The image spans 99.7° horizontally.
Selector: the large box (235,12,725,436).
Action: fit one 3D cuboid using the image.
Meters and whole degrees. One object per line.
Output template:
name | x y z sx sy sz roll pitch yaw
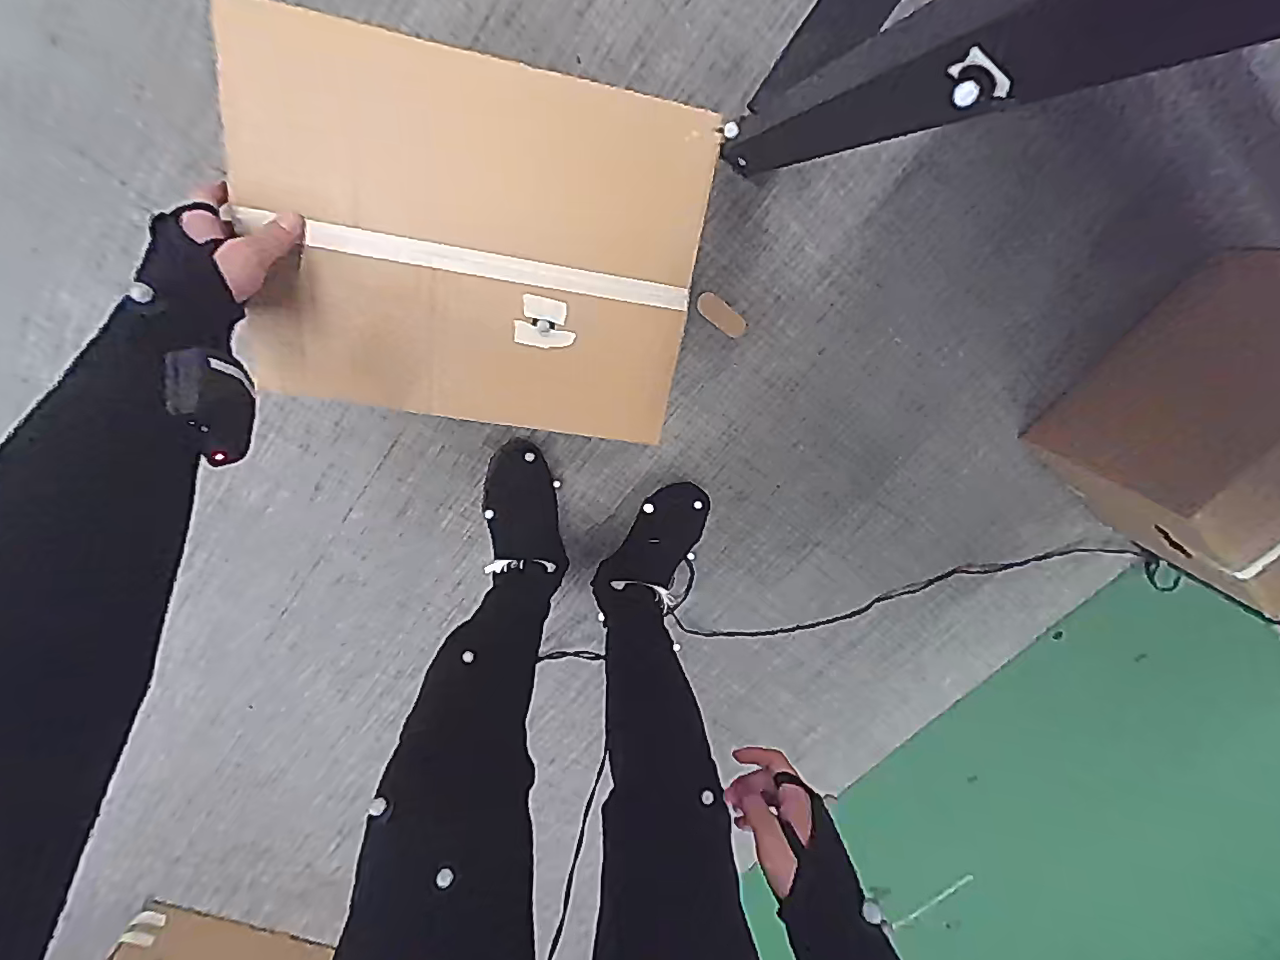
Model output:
large box | -0.160 -0.265 0.640 0.408 0.320 0.320 6 114 -10
